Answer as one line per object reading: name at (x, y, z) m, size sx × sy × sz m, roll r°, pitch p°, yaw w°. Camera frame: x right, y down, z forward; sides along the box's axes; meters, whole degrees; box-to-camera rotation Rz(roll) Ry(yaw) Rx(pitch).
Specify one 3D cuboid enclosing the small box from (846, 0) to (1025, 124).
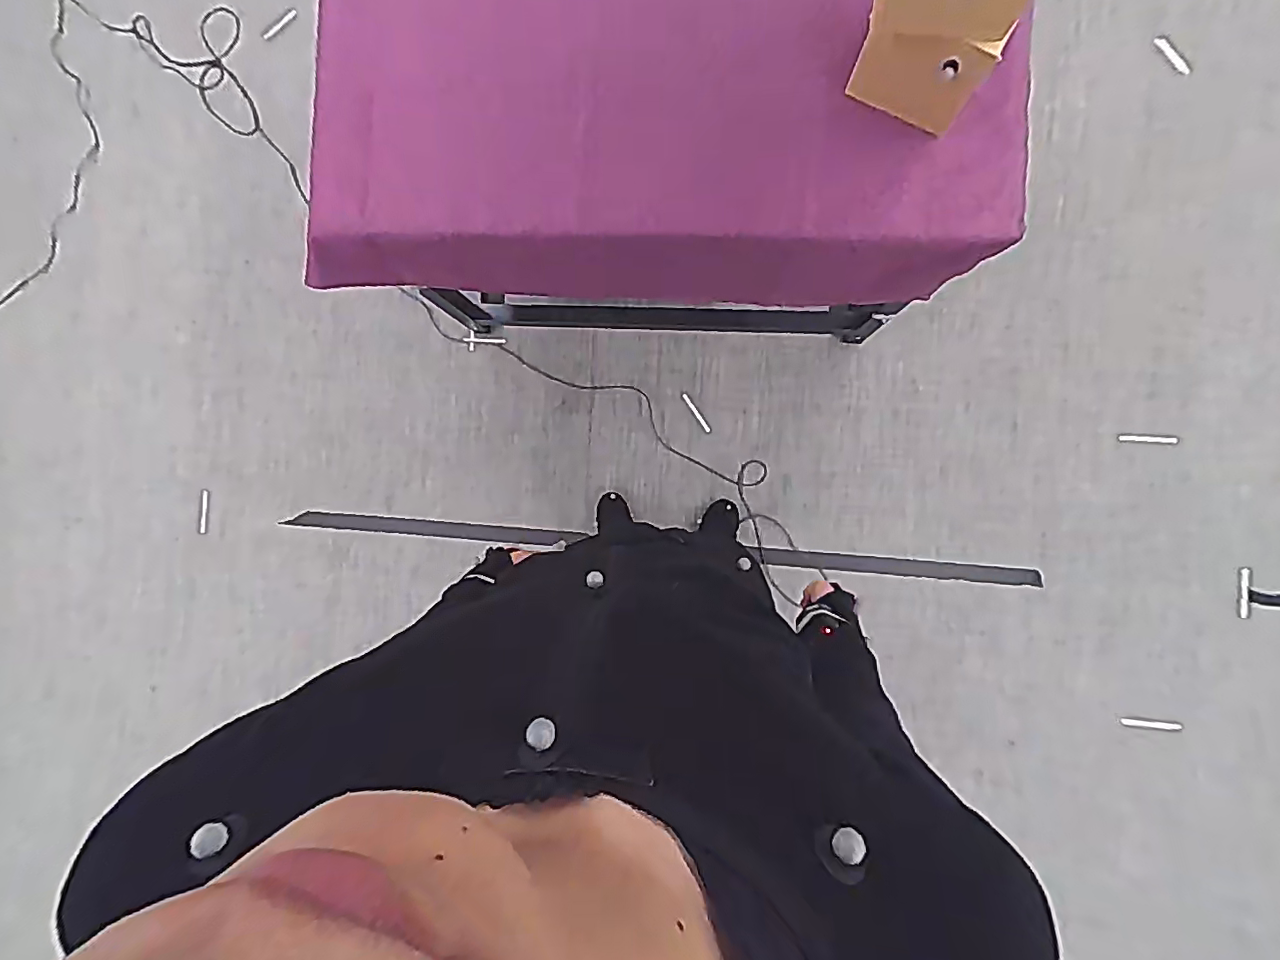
small box at (0.439, -0.675, 0.799) m, size 0.179 × 0.176 × 0.168 m, roll 29°, pitch 92°, yaw 5°
